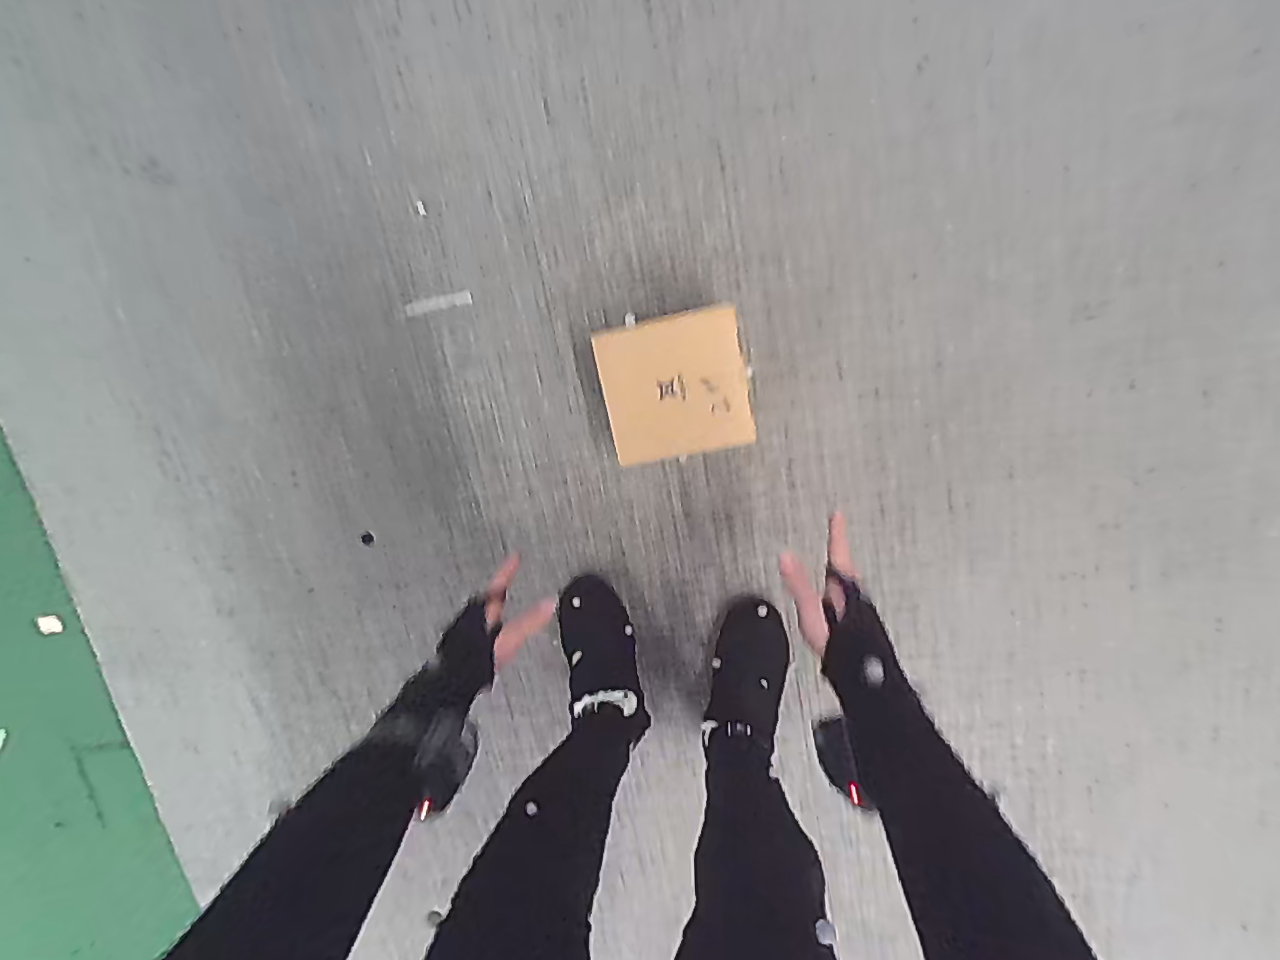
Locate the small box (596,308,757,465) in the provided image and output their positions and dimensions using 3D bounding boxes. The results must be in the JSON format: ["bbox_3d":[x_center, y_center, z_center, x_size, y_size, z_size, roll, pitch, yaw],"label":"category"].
[{"bbox_3d":[0.055,-0.124,0.731,0.179,0.176,0.168,-10,101,9],"label":"small box"}]
